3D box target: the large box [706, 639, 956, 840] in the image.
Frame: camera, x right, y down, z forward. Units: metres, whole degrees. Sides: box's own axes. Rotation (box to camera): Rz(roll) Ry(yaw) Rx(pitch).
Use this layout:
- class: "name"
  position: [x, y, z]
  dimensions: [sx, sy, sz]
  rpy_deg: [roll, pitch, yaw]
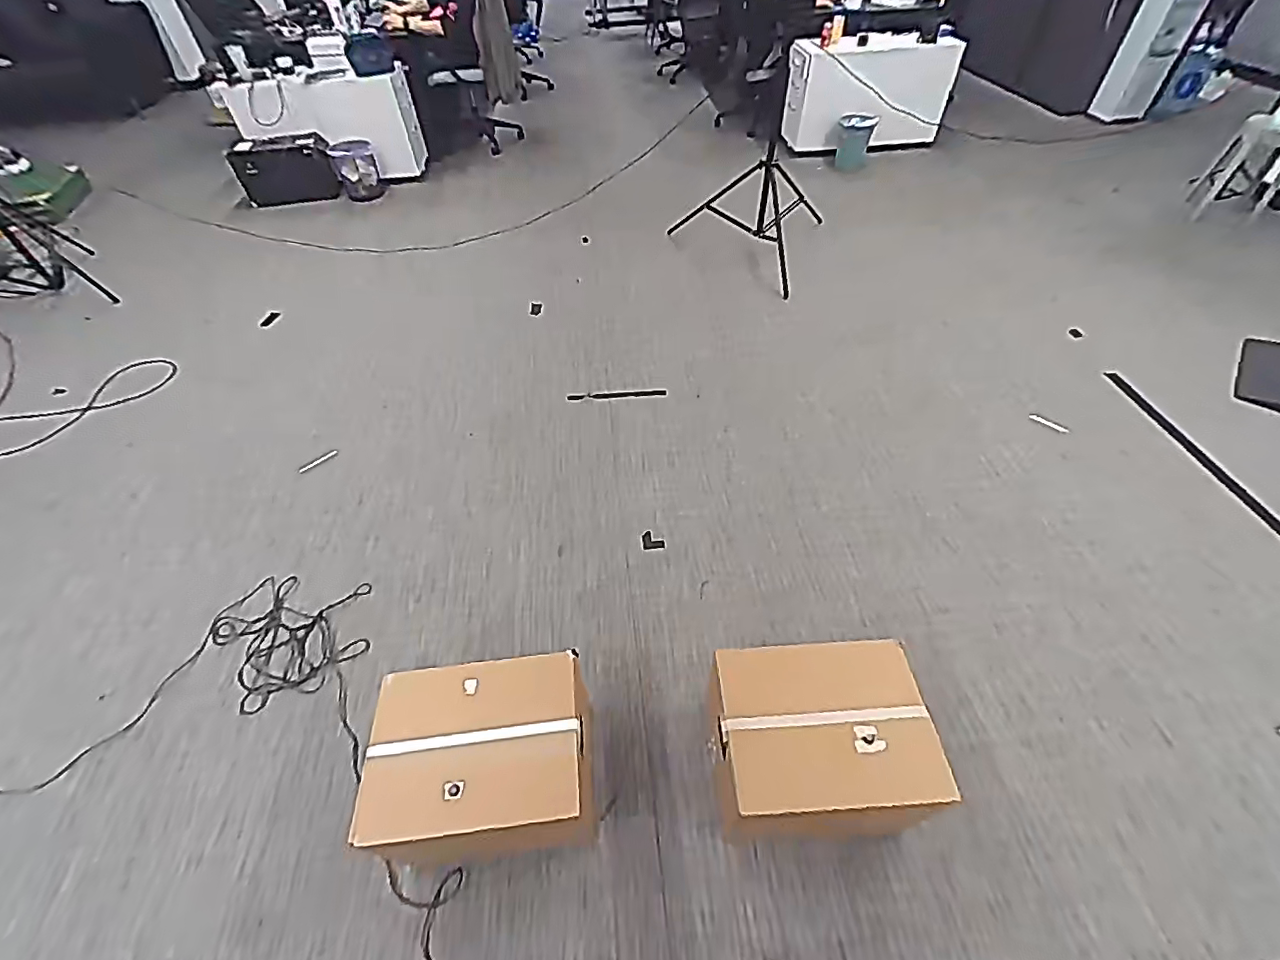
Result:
- class: "large box"
  position: [0.374, 0.573, 1.189]
  dimensions: [0.408, 0.320, 0.320]
  rpy_deg: [-3, 49, -1]
